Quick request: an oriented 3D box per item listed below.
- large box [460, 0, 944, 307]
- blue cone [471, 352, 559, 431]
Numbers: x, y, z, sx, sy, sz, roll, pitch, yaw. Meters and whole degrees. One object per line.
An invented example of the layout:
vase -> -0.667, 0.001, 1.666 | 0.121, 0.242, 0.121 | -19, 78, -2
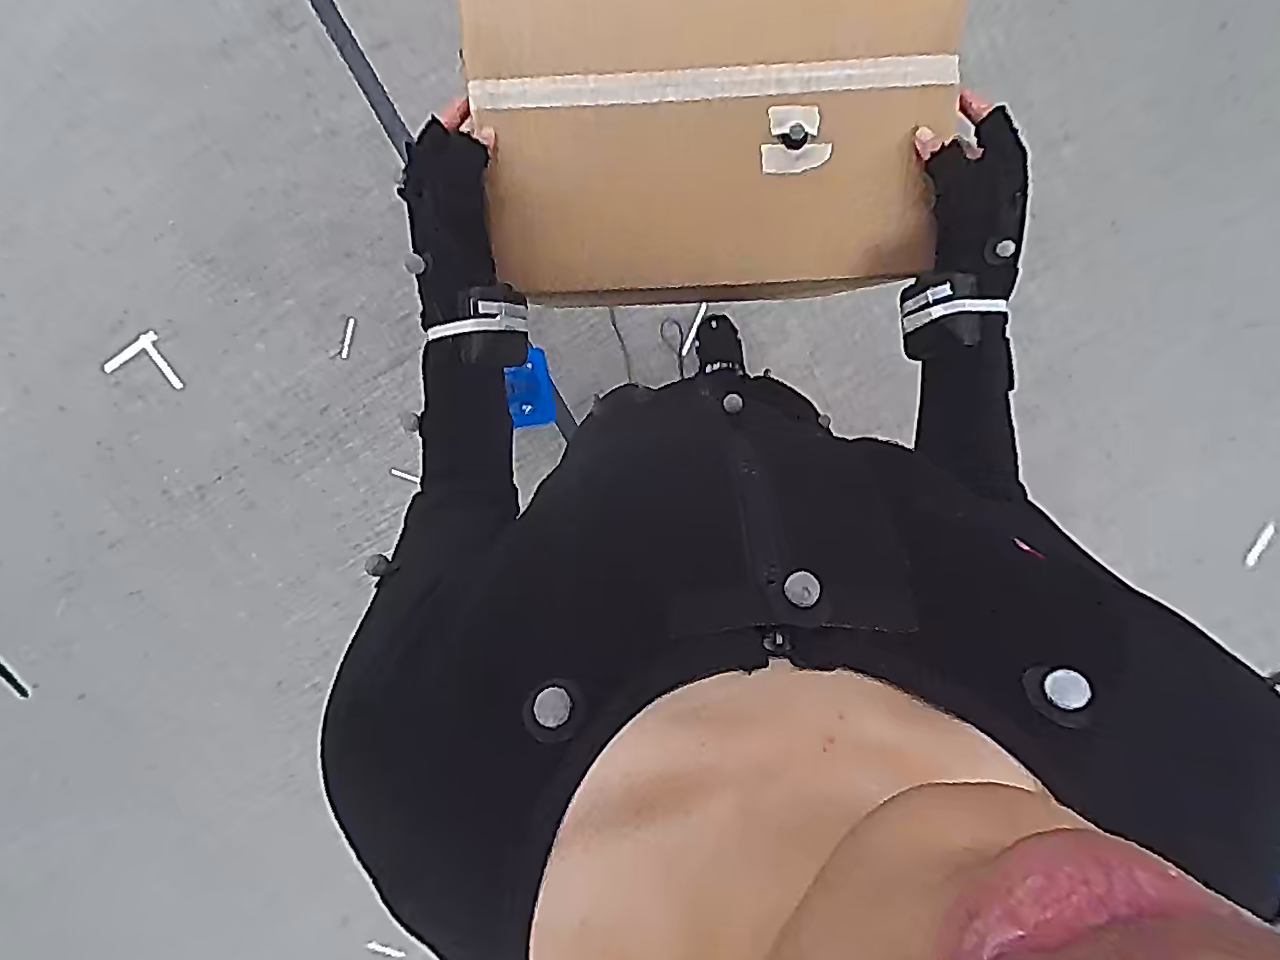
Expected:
large box -> 0.052, -0.377, 0.603 | 0.408, 0.320, 0.320 | -4, 105, 0
blue cone -> -0.328, -0.207, 1.287 | 0.193, 0.380, 0.192 | -8, 101, 3
